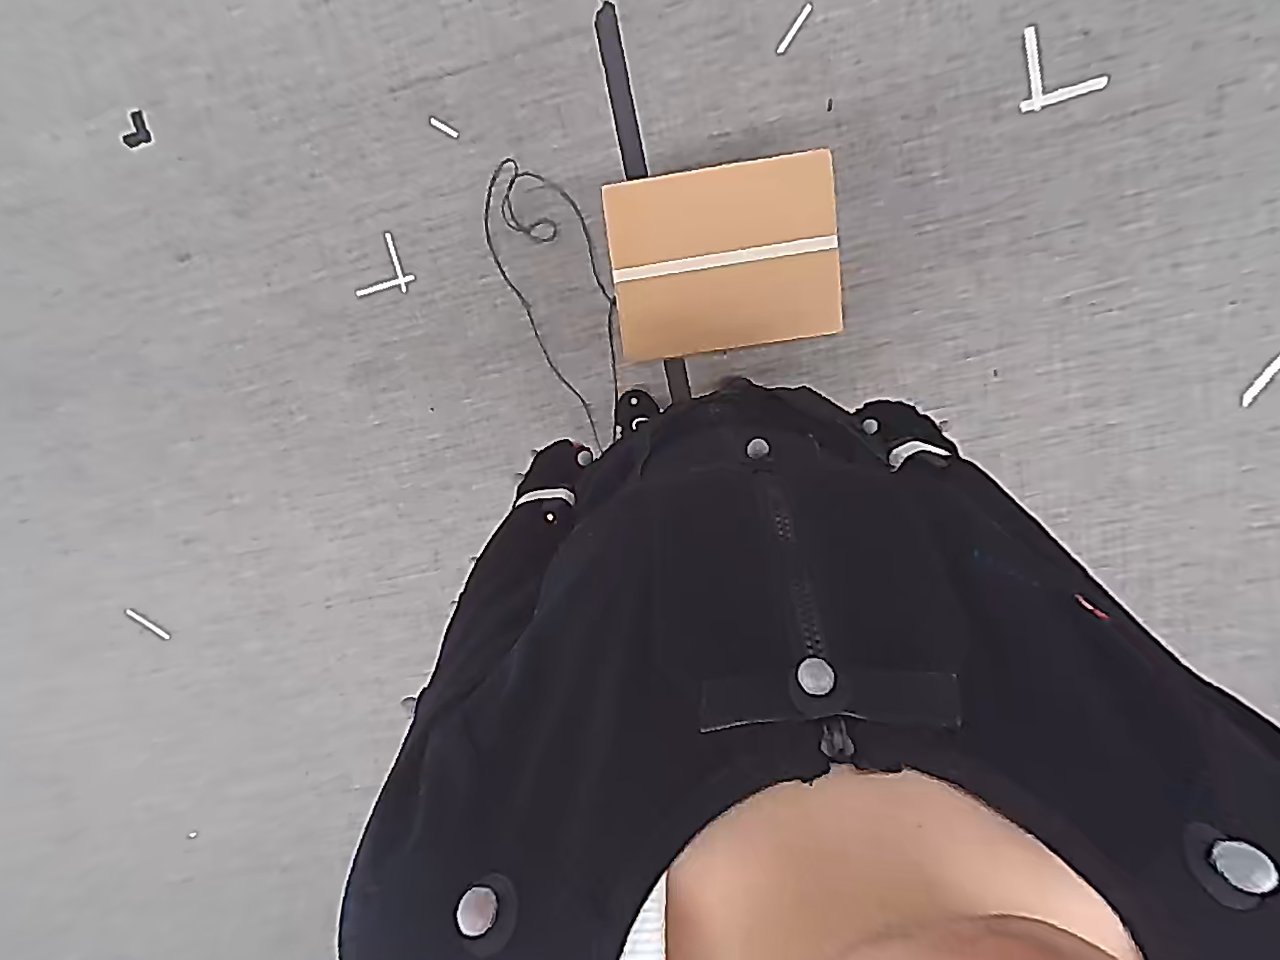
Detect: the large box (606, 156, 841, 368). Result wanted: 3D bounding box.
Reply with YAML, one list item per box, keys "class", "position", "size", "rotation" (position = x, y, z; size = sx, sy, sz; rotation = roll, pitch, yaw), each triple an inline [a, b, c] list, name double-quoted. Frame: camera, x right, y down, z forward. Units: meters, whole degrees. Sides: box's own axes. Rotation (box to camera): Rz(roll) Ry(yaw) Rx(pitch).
- class: "large box"
  position: [0.160, -0.418, 1.127]
  size: [0.408, 0.320, 0.320]
  rotation: [-7, 102, 4]
